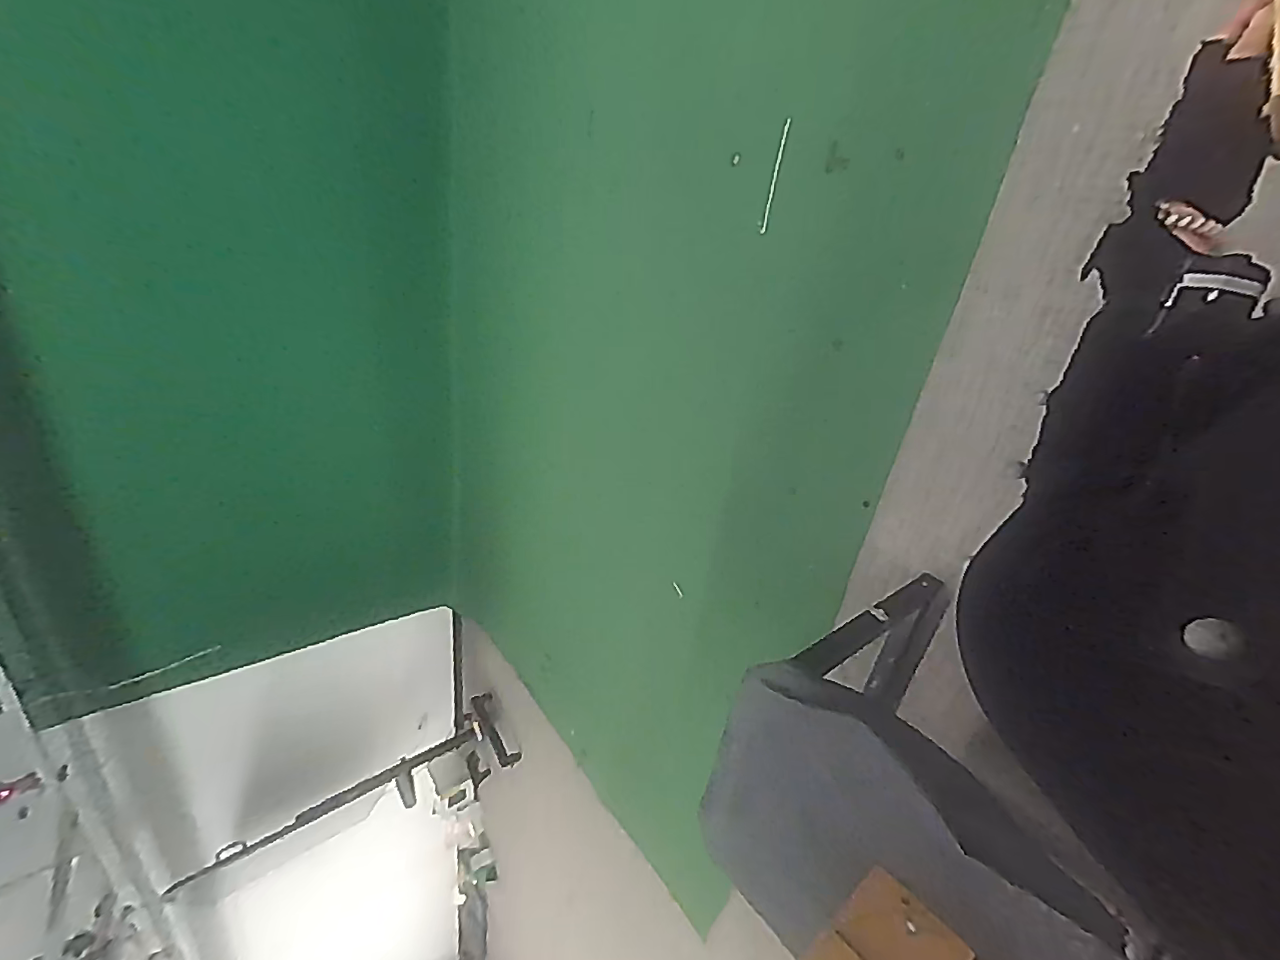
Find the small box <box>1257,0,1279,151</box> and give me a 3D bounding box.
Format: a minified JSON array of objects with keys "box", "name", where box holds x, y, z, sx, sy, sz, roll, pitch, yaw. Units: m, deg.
[{"box":[0.473,-0.315,0.293,0.179,0.176,0.168,2,99,49],"name":"small box"}]
